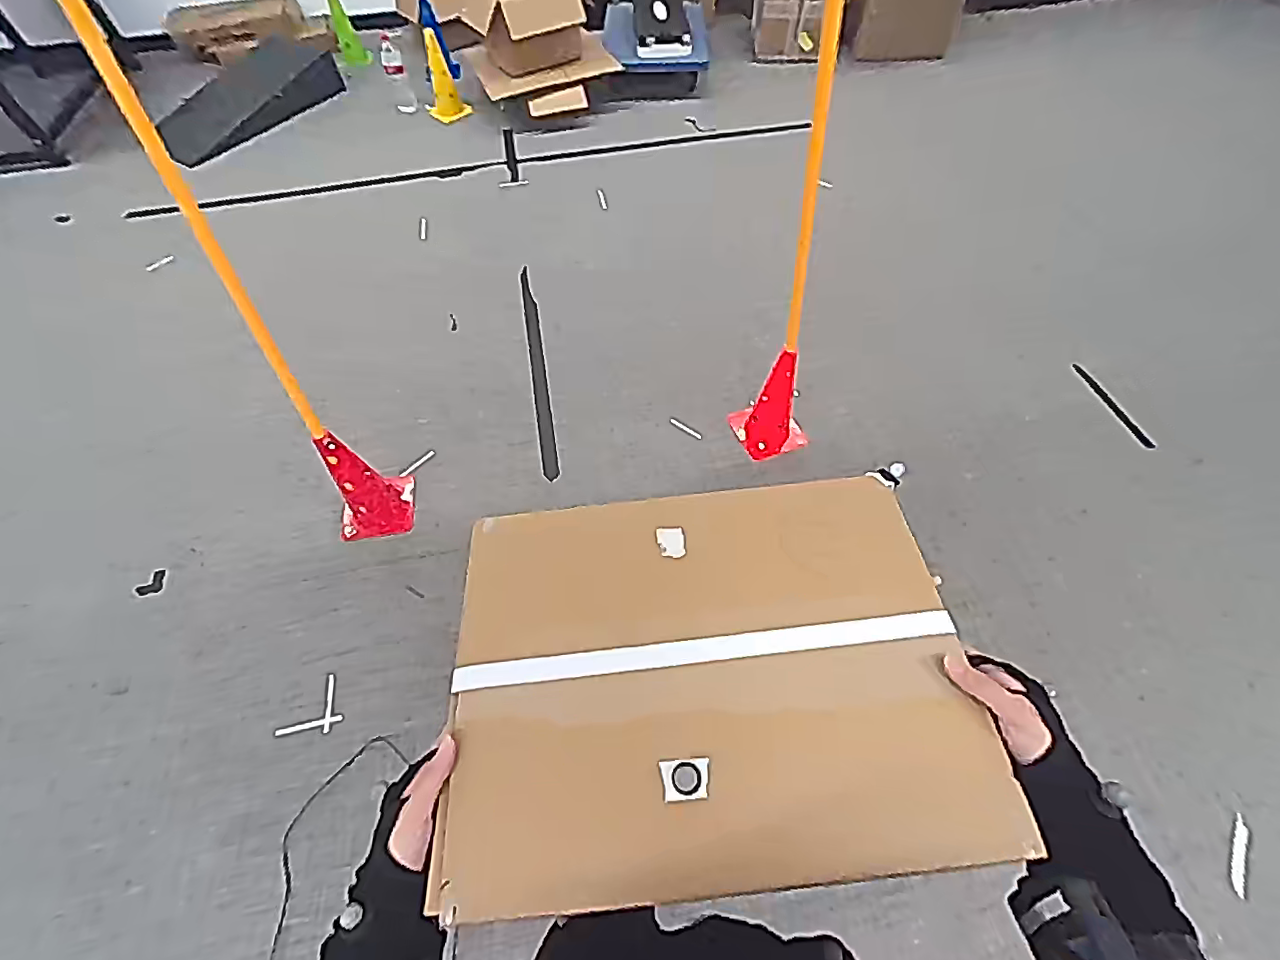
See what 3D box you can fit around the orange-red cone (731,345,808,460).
[{"bbox_3d":[0.410,-0.251,1.577,0.199,0.360,0.198,-17,60,-11],"label":"orange-red cone"}]
